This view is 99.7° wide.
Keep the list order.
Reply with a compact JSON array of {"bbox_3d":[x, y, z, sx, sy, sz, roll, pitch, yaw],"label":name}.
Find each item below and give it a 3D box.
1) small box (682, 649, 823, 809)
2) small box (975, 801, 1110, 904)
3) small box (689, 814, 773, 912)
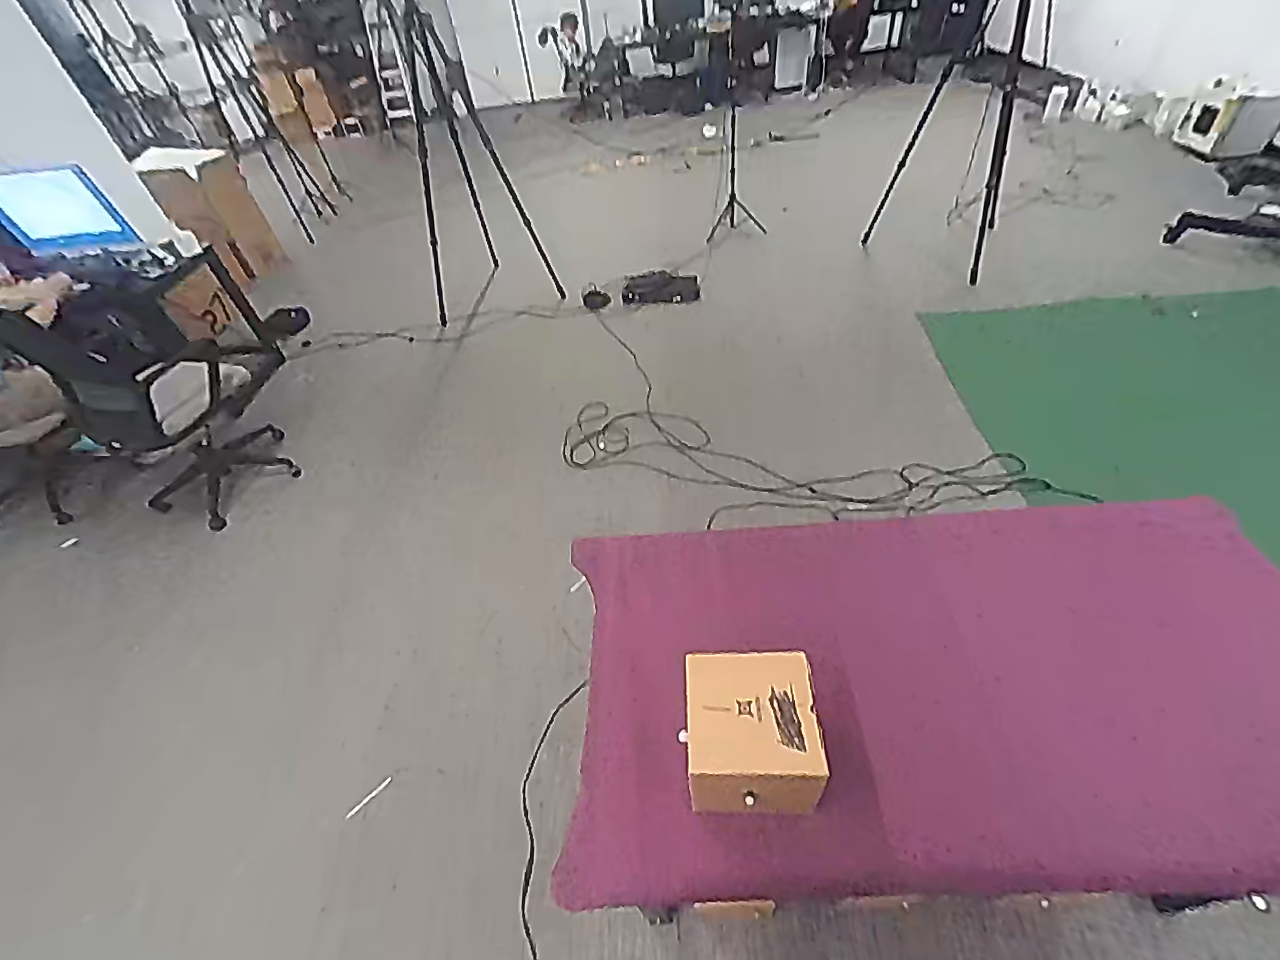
[{"bbox_3d":[0.152,0.360,0.781,0.179,0.176,0.168,-3,44,7],"label":"small box"},{"bbox_3d":[0.883,0.839,1.216,0.179,0.176,0.168,-3,46,8],"label":"small box"},{"bbox_3d":[0.211,0.902,1.269,0.179,0.176,0.168,-4,45,5],"label":"small box"}]
